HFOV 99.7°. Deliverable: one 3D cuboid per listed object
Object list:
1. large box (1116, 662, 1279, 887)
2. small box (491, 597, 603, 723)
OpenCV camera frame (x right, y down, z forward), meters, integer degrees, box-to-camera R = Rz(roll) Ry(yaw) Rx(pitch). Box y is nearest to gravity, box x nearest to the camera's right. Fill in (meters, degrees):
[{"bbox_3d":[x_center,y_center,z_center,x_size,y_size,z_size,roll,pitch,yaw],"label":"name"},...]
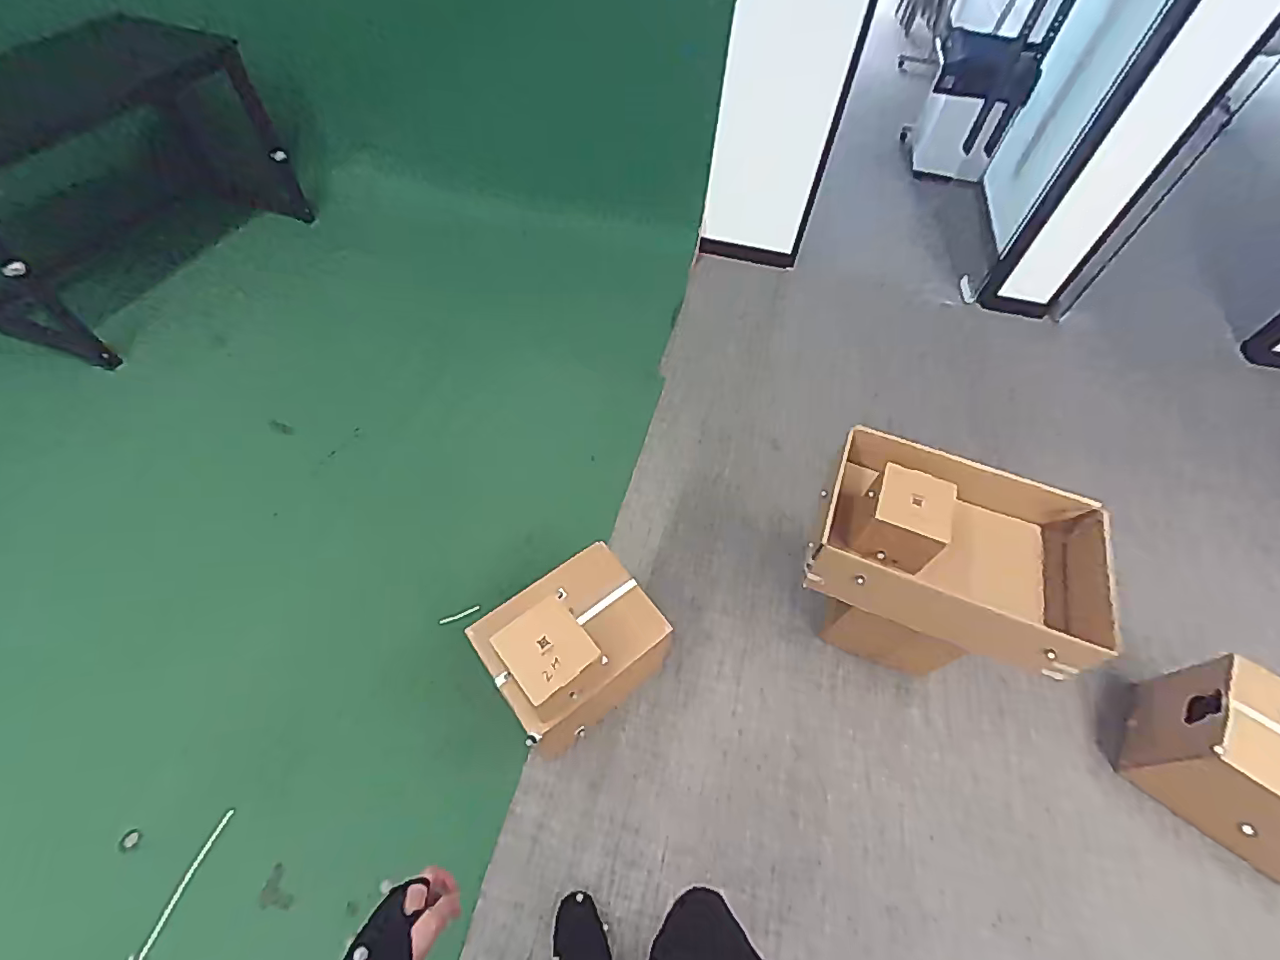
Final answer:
[{"bbox_3d":[1.538,0.738,1.346,0.408,0.320,0.320,34,59,20],"label":"large box"},{"bbox_3d":[-0.196,0.391,1.163,0.168,0.176,0.179,-33,65,-24],"label":"small box"}]
